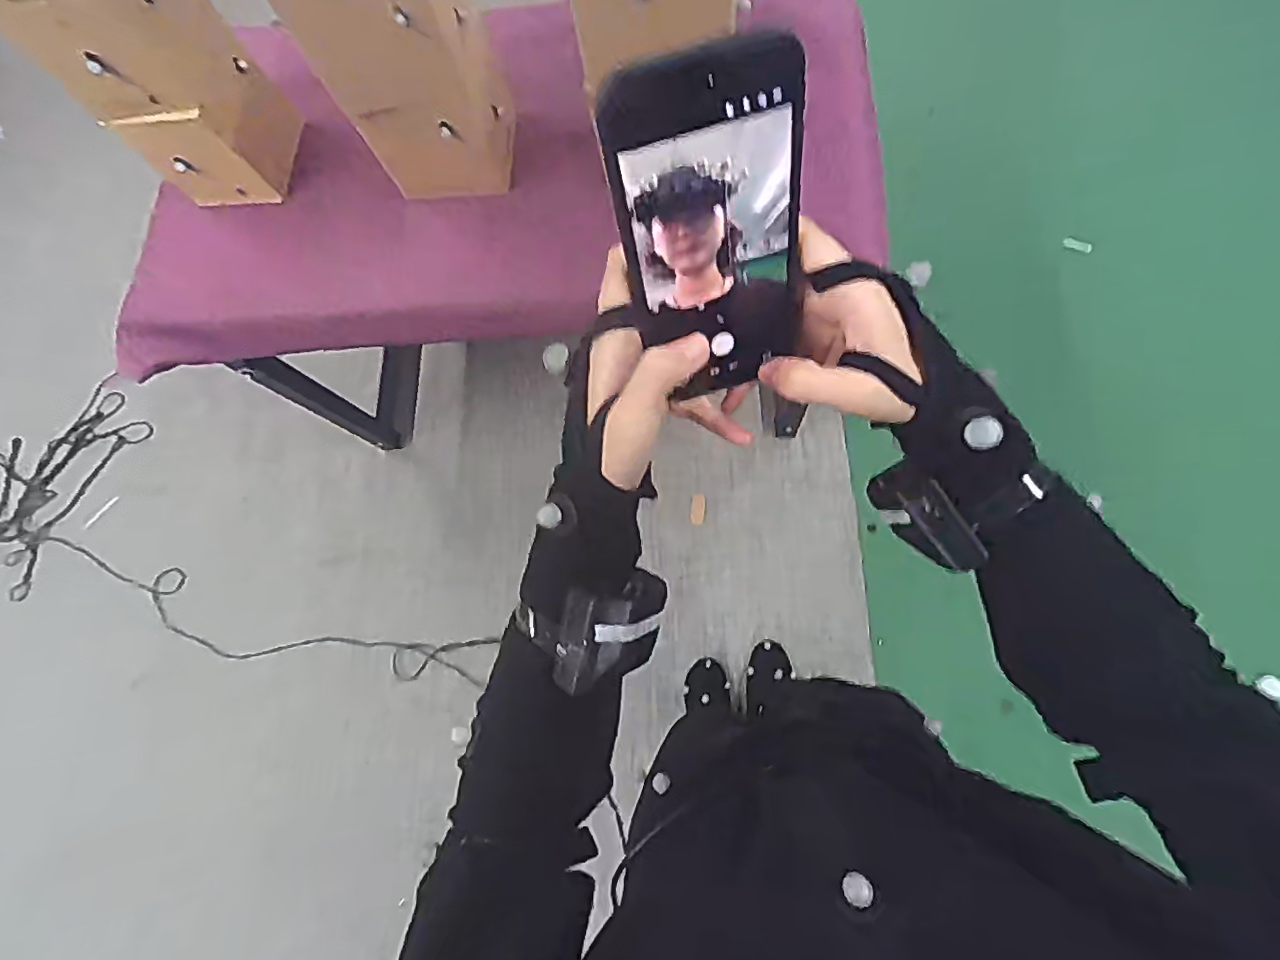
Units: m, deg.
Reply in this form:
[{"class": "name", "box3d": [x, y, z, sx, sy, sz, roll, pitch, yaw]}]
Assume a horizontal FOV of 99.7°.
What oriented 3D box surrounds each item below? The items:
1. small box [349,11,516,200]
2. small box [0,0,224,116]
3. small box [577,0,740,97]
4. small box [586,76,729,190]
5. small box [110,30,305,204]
[{"class": "small box", "box3d": [-0.301, -0.559, 0.826, 0.179, 0.176, 0.168, 0, 75, 7]}, {"class": "small box", "box3d": [-0.708, -0.627, 0.727, 0.168, 0.176, 0.179, -5, 75, 5]}, {"class": "small box", "box3d": [0.024, -0.576, 0.618, 0.179, 0.176, 0.168, 5, 75, 8]}, {"class": "small box", "box3d": [0.036, -0.547, 0.780, 0.179, 0.176, 0.168, 6, 75, 9]}, {"class": "small box", "box3d": [-0.688, -0.576, 0.882, 0.168, 0.176, 0.179, 0, 75, 7]}]
